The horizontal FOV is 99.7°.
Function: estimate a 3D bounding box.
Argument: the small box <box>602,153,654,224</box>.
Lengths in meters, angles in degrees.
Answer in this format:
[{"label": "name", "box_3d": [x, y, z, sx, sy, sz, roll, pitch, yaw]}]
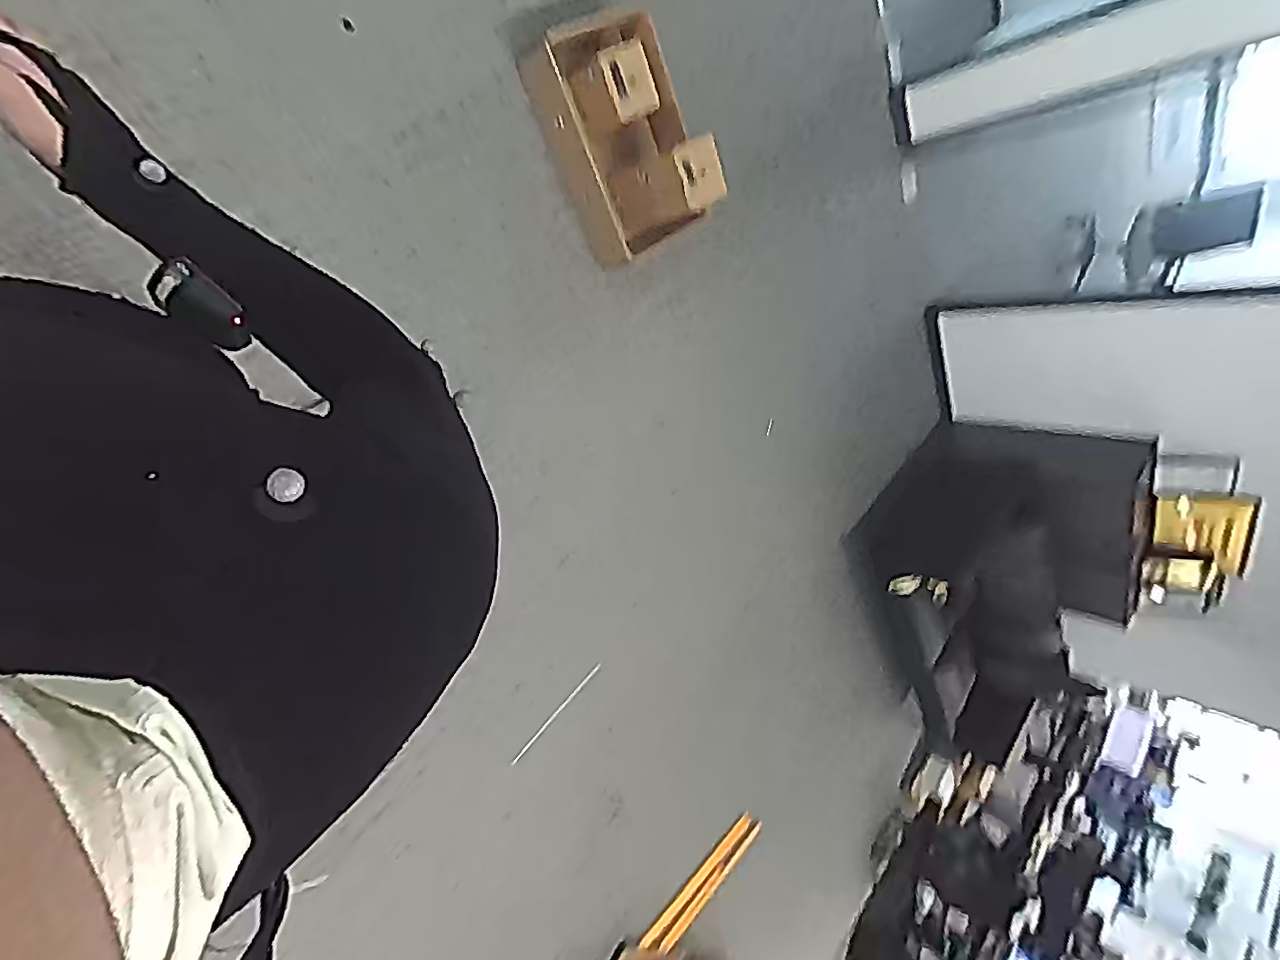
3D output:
[{"label": "small box", "box_3d": [0.011, -0.955, 1.752, 0.179, 0.176, 0.168, -41, 123, -25]}]

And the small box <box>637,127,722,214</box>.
[{"label": "small box", "box_3d": [0.113, -0.925, 1.627, 0.179, 0.176, 0.168, -40, 122, -27]}]
